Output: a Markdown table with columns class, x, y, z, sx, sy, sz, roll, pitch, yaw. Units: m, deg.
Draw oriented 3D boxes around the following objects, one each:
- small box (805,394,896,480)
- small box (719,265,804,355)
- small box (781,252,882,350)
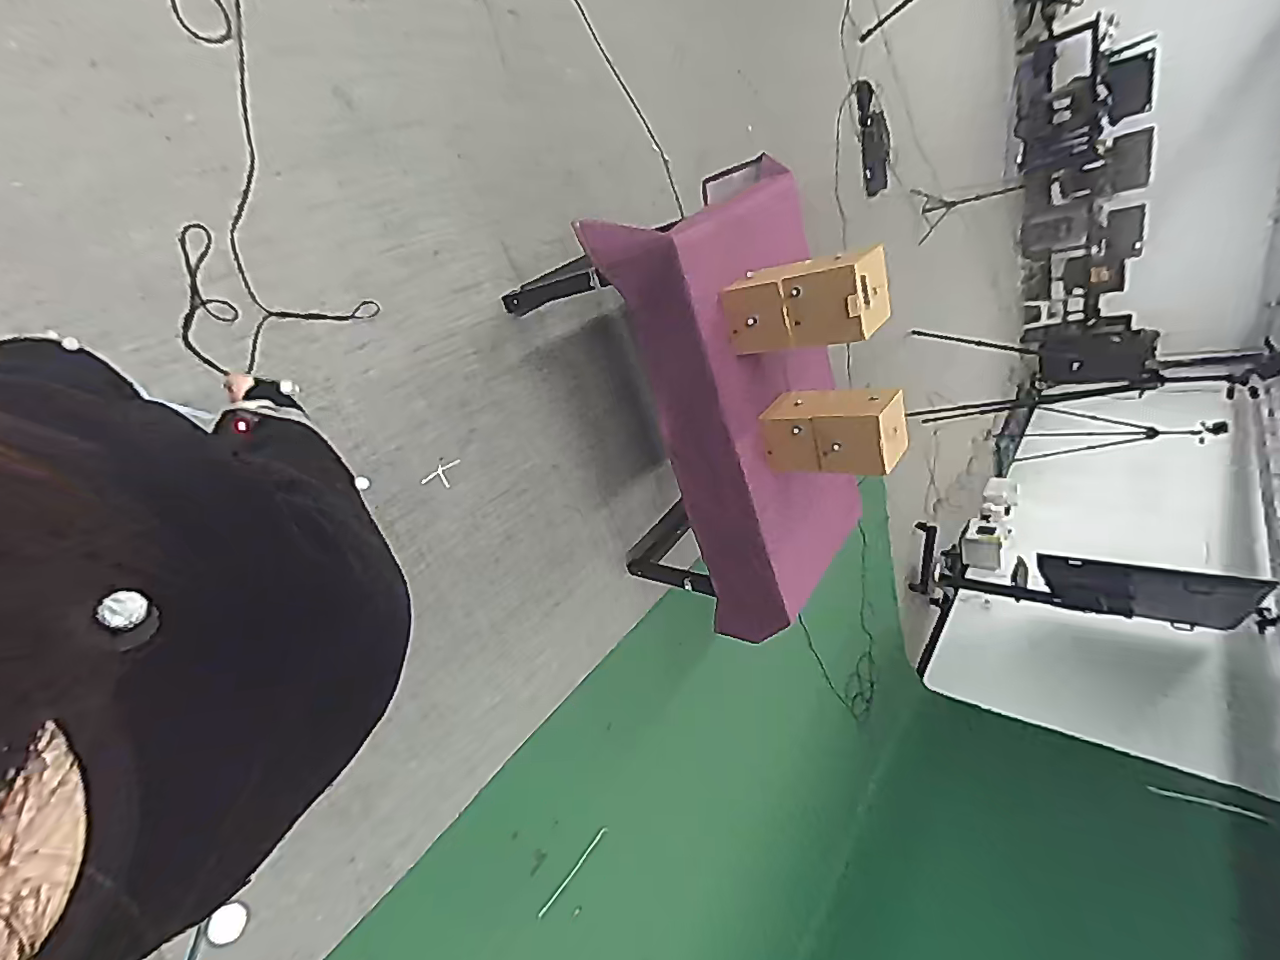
| class | x | y | z | sx | sy | sz | roll | pitch | yaw |
| --- | --- | --- | --- | --- | --- | --- | --- | --- | --- |
| small box | 0.550 | -0.118 | 1.412 | 0.179 | 0.176 | 0.168 | -38 | 121 | -38 |
| small box | 0.313 | -0.423 | 1.361 | 0.179 | 0.176 | 0.168 | -40 | 123 | -36 |
| small box | 0.440 | -0.411 | 1.256 | 0.179 | 0.176 | 0.168 | -40 | 123 | -38 |
